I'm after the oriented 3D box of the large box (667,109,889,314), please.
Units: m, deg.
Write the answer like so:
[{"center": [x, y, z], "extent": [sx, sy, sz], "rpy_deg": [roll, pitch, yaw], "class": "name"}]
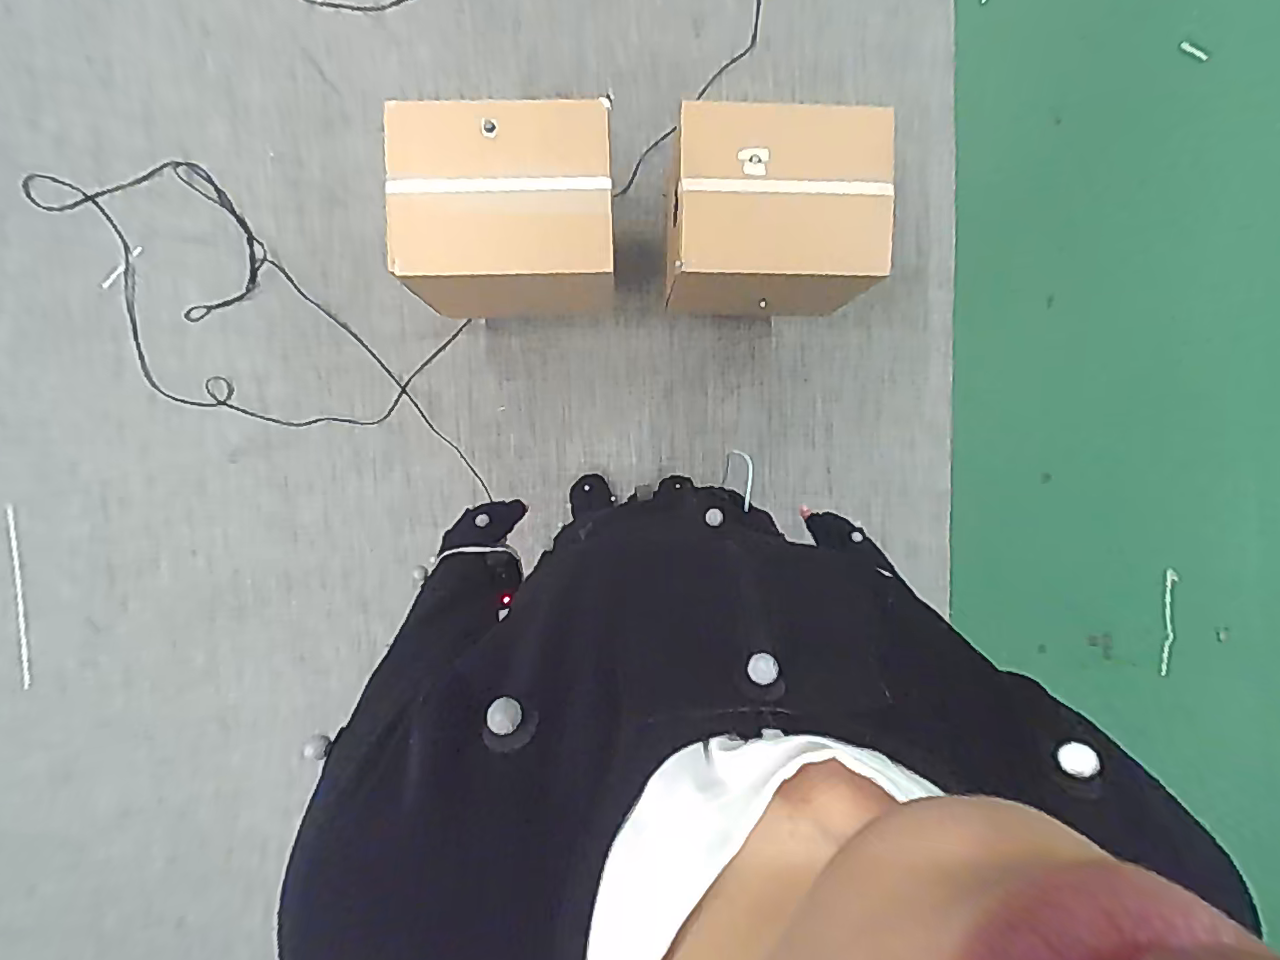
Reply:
[{"center": [0.271, -0.551, 1.173], "extent": [0.408, 0.320, 0.320], "rpy_deg": [0, 92, -2], "class": "large box"}]
